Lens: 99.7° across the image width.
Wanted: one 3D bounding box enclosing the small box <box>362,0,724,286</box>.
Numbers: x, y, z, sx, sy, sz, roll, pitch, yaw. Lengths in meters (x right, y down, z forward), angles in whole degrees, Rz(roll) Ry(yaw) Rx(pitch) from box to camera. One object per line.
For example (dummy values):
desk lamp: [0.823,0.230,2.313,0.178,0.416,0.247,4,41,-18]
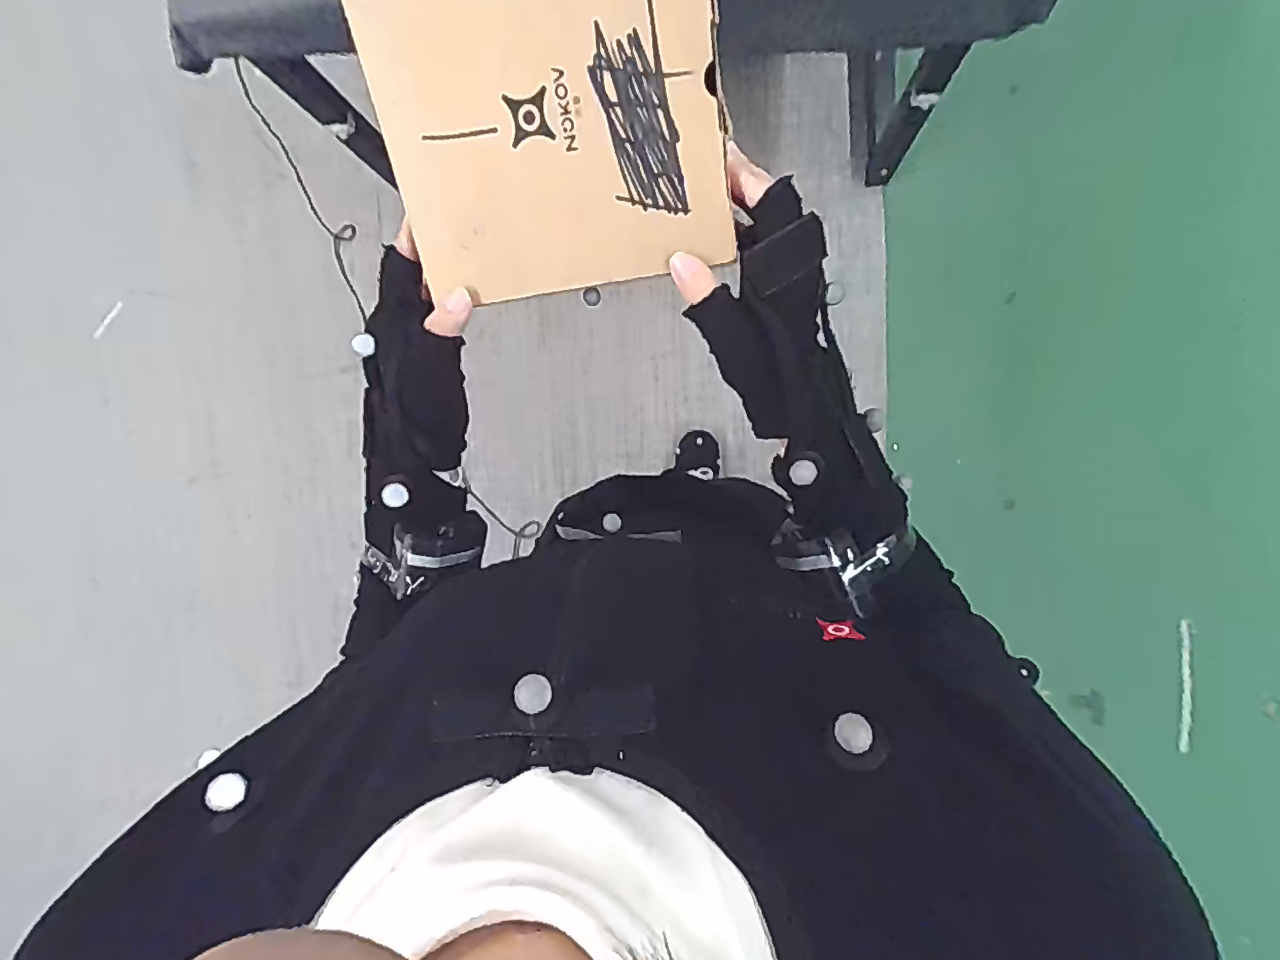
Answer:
small box: [-0.041,-0.233,0.360,0.179,0.176,0.168,-5,113,9]
